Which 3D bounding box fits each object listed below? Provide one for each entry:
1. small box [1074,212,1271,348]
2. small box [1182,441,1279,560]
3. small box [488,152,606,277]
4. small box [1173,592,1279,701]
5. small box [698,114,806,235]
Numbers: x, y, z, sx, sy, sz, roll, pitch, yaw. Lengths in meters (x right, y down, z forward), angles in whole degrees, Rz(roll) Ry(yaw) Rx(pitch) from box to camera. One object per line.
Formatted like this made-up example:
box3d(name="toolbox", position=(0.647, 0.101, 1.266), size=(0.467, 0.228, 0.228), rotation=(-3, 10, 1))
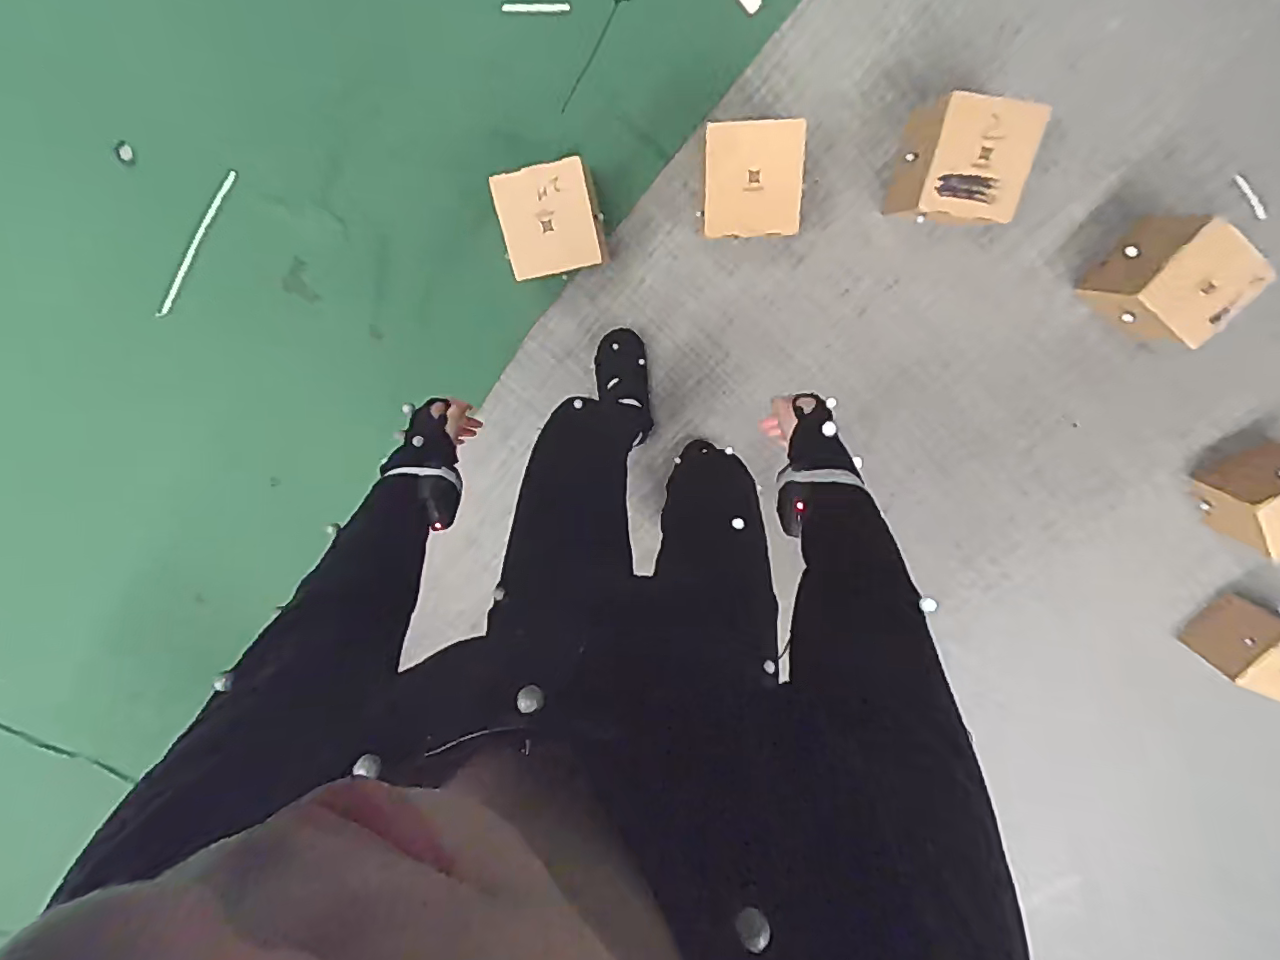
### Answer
box3d(name="small box", position=(1.001, -0.381, 1.037), size=(0.179, 0.176, 0.168), rotation=(33, 111, -11))
box3d(name="small box", position=(1.393, 0.039, 1.210), size=(0.179, 0.176, 0.168), rotation=(-32, 108, 15))
box3d(name="small box", position=(-0.163, -0.496, 1.024), size=(0.168, 0.176, 0.179), rotation=(-10, 112, 5))
box3d(name="small box", position=(1.536, 0.415, 1.369), size=(0.168, 0.176, 0.179), rotation=(22, 113, -7))
box3d(name="small box", position=(0.194, -0.549, 0.993), size=(0.168, 0.176, 0.179), rotation=(-1, 114, 2))
